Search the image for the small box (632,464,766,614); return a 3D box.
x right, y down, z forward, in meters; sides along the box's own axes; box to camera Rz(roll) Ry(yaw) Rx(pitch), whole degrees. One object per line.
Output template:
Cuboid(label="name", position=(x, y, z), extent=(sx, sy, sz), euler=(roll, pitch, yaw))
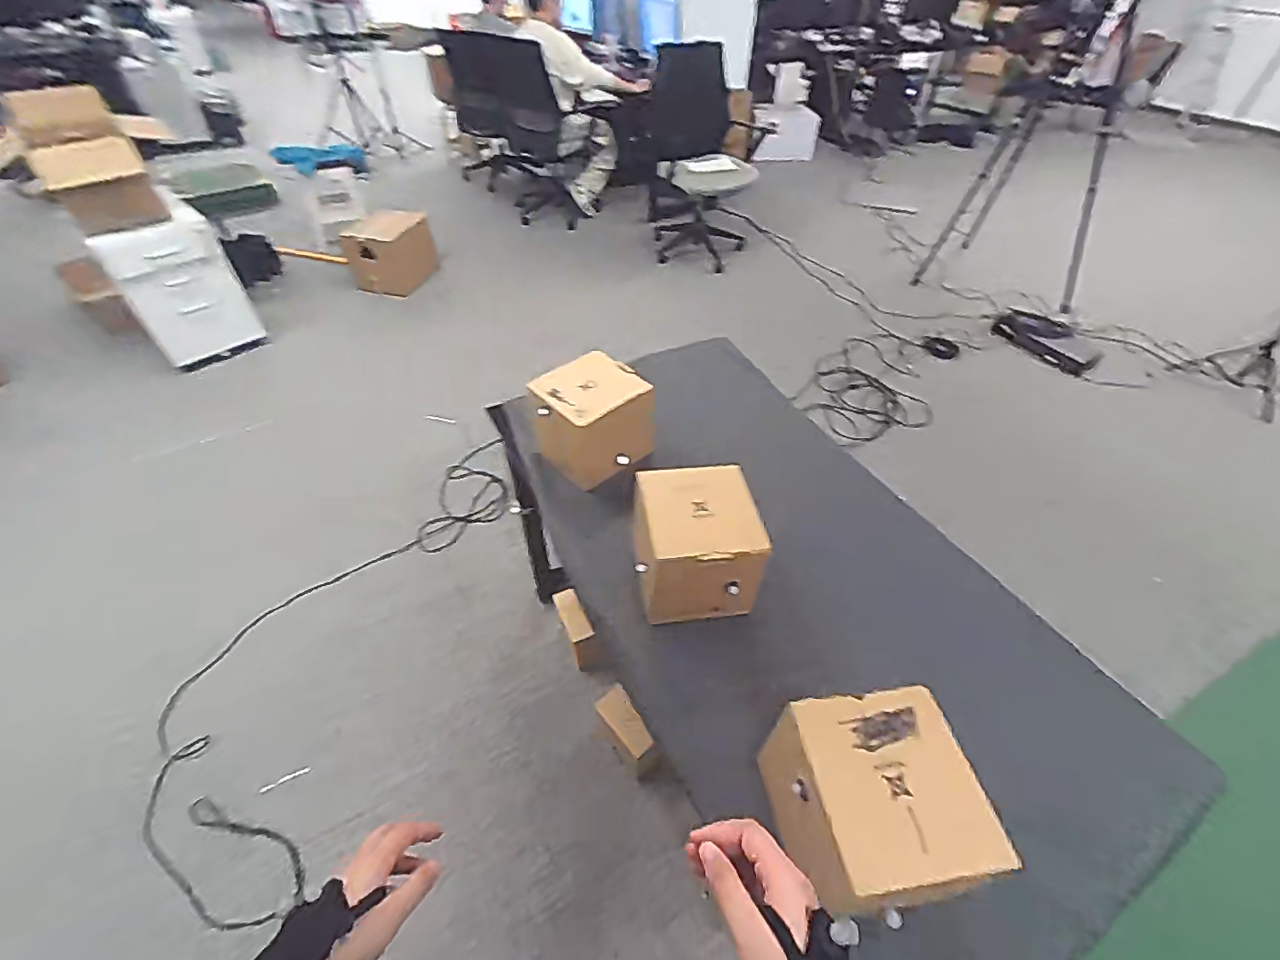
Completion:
Cuboid(label="small box", position=(0.081, 0.097, 0.854), extent=(0.168, 0.176, 0.179), euler=(-4, 44, -9))

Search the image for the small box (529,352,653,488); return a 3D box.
Cuboid(label="small box", position=(-0.095, -0.119, 1.062), extent=(0.179, 0.176, 0.168), euler=(-32, 54, -28))

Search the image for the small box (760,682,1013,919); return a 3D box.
Cuboid(label="small box", position=(0.247, 0.351, 0.599), extent=(0.168, 0.176, 0.179), euler=(-4, 44, -8))

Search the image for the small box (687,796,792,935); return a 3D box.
Cuboid(label="small box", position=(0.214, 0.827, 1.156), extent=(0.179, 0.176, 0.168), euler=(-25, 52, -24))

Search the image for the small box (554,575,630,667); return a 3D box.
Cuboid(label="small box", position=(-0.135, 0.411, 1.566), extent=(0.179, 0.176, 0.168), euler=(-18, 48, -18))
